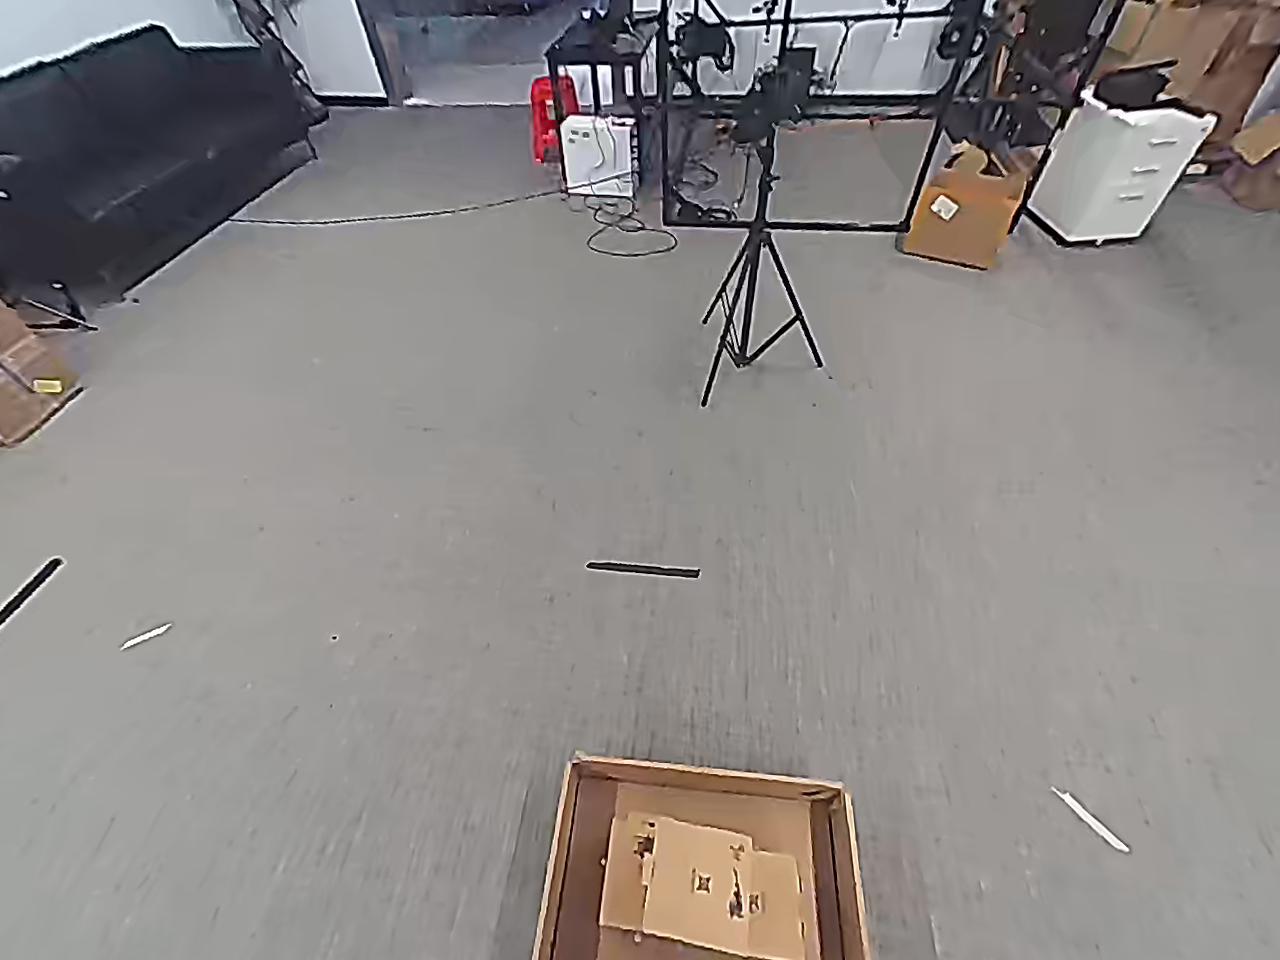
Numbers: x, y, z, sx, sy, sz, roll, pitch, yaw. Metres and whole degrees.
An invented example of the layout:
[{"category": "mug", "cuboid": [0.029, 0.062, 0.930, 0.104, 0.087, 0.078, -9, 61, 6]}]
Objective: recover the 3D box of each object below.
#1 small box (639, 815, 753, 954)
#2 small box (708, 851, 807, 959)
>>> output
[{"category": "small box", "cuboid": [0.102, 0.729, 0.974, 0.179, 0.176, 0.168, 7, 50, 8]}, {"category": "small box", "cuboid": [0.225, 0.850, 1.080, 0.179, 0.176, 0.168, 1, 48, 8]}]
